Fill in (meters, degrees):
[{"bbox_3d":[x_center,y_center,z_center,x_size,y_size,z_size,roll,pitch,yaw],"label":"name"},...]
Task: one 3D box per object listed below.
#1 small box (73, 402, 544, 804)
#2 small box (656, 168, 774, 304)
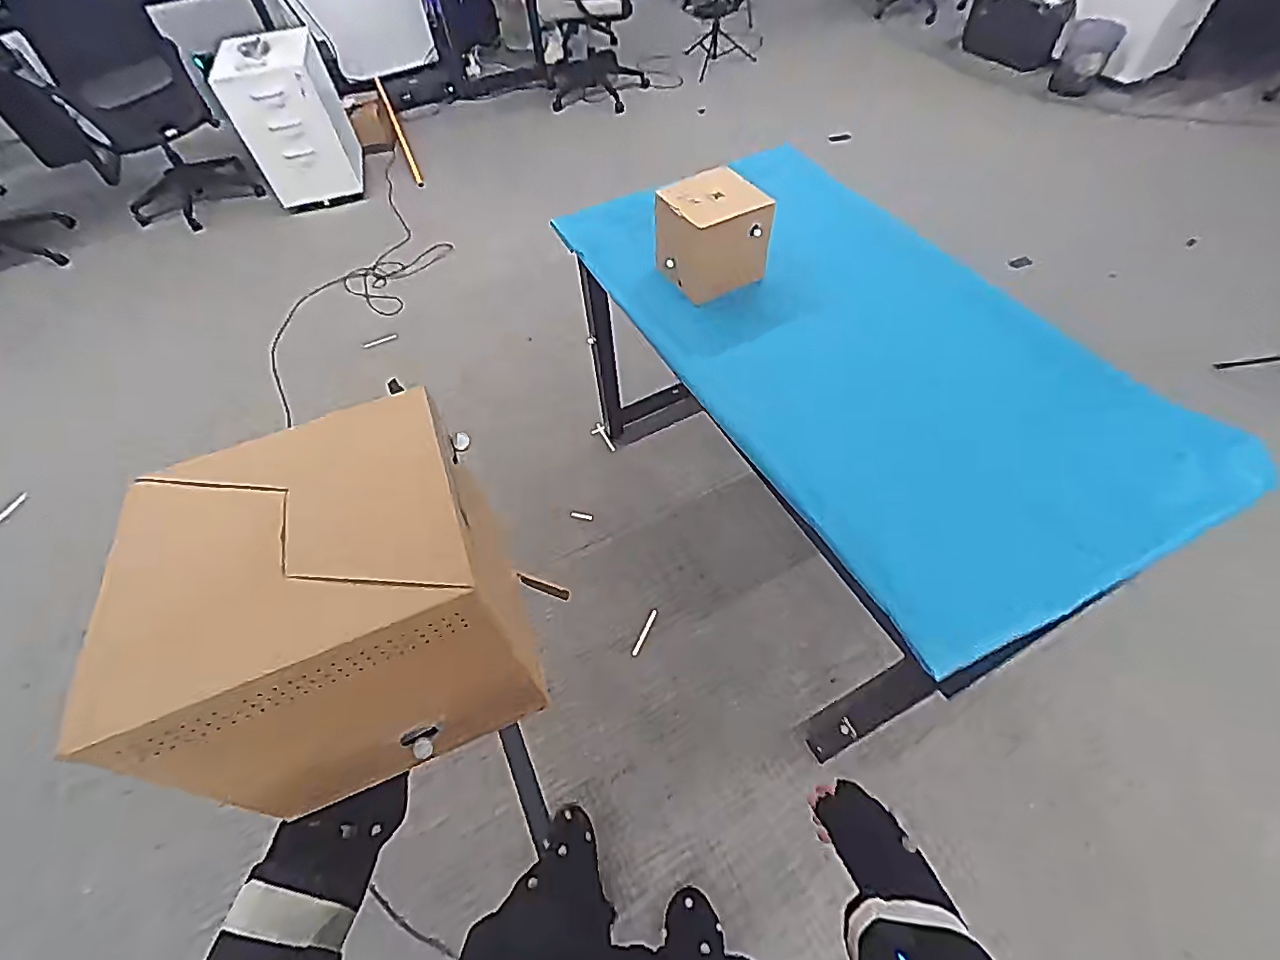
[{"bbox_3d":[-0.184,0.075,0.350,0.179,0.176,0.168,-21,51,-11],"label":"small box"},{"bbox_3d":[0.147,-0.493,1.101,0.179,0.176,0.168,-24,57,-10],"label":"small box"}]
